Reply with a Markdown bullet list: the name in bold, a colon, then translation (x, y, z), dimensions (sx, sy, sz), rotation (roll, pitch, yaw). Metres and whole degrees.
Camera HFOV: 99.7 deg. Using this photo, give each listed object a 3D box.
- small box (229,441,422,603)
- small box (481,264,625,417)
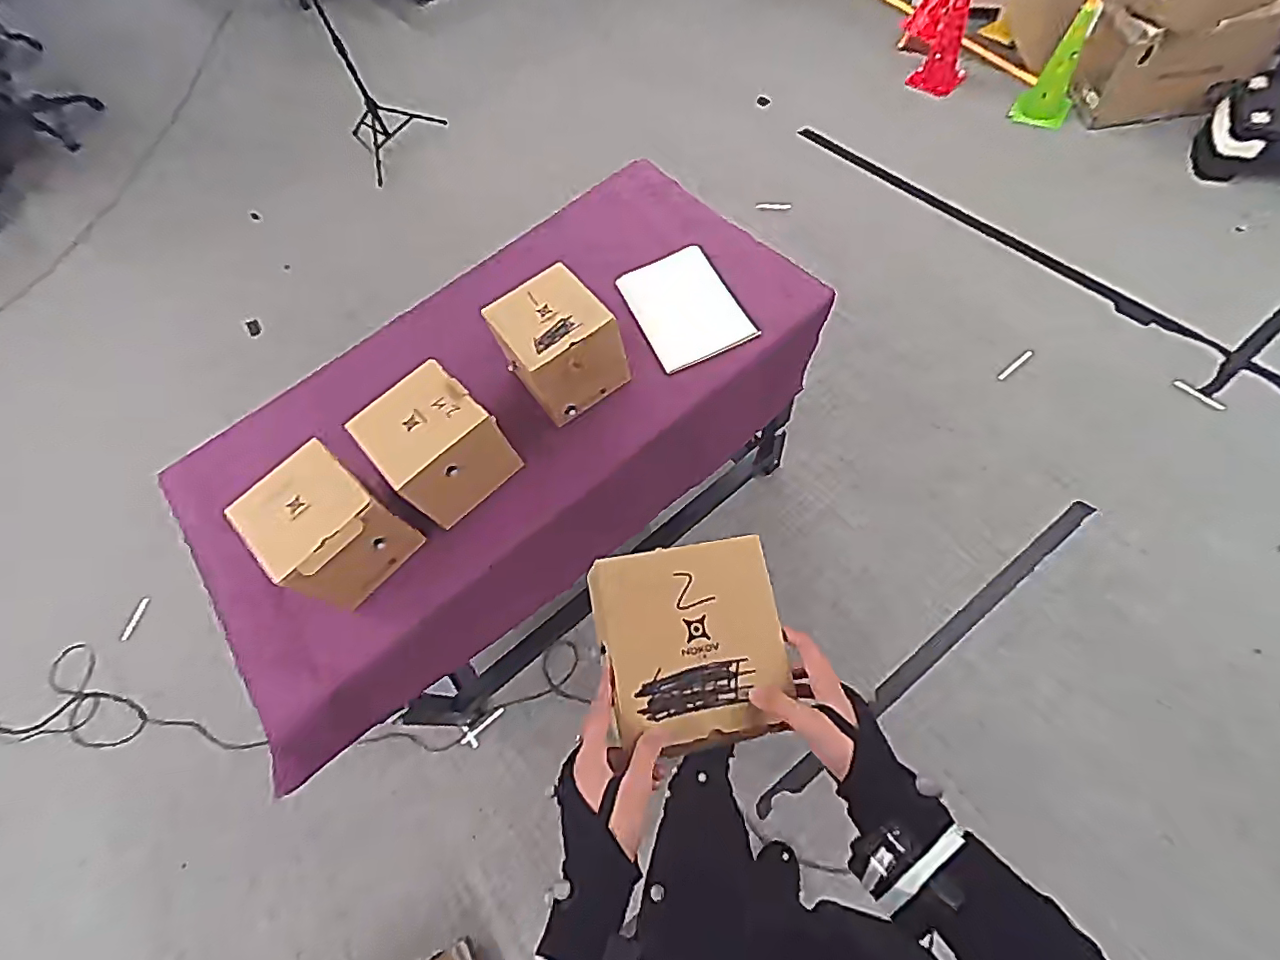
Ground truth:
- **small box**: translation (-0.487, 0.077, 0.863), dimensions (0.179, 0.176, 0.168), rotation (38, 75, 23)
- **small box**: translation (-0.144, -0.235, 0.958), dimensions (0.168, 0.176, 0.179), rotation (-36, 64, -9)
